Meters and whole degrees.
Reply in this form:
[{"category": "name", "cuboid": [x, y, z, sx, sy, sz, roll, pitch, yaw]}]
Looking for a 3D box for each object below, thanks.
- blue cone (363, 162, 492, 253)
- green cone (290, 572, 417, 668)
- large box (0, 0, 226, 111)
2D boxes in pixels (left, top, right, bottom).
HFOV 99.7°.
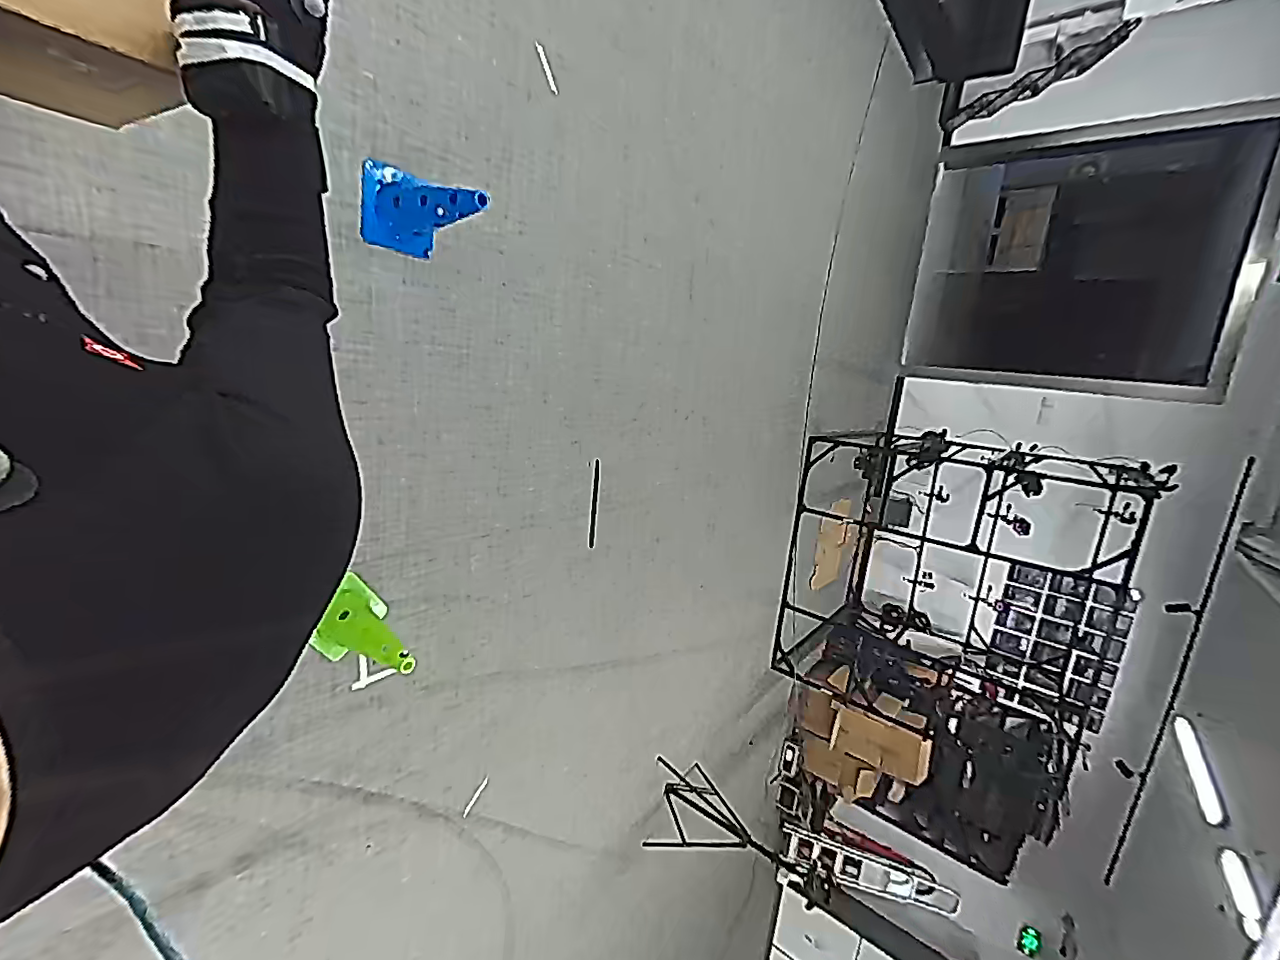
[{"category": "blue cone", "cuboid": [-0.512, -0.690, 1.351, 0.192, 0.380, 0.193, -4, 105, -54]}, {"category": "green cone", "cuboid": [-0.717, 0.420, 1.440, 0.202, 0.368, 0.200, -52, 139, -31]}, {"category": "large box", "cuboid": [-0.512, -0.454, 0.274, 0.408, 0.320, 0.320, -10, 115, -54]}]
